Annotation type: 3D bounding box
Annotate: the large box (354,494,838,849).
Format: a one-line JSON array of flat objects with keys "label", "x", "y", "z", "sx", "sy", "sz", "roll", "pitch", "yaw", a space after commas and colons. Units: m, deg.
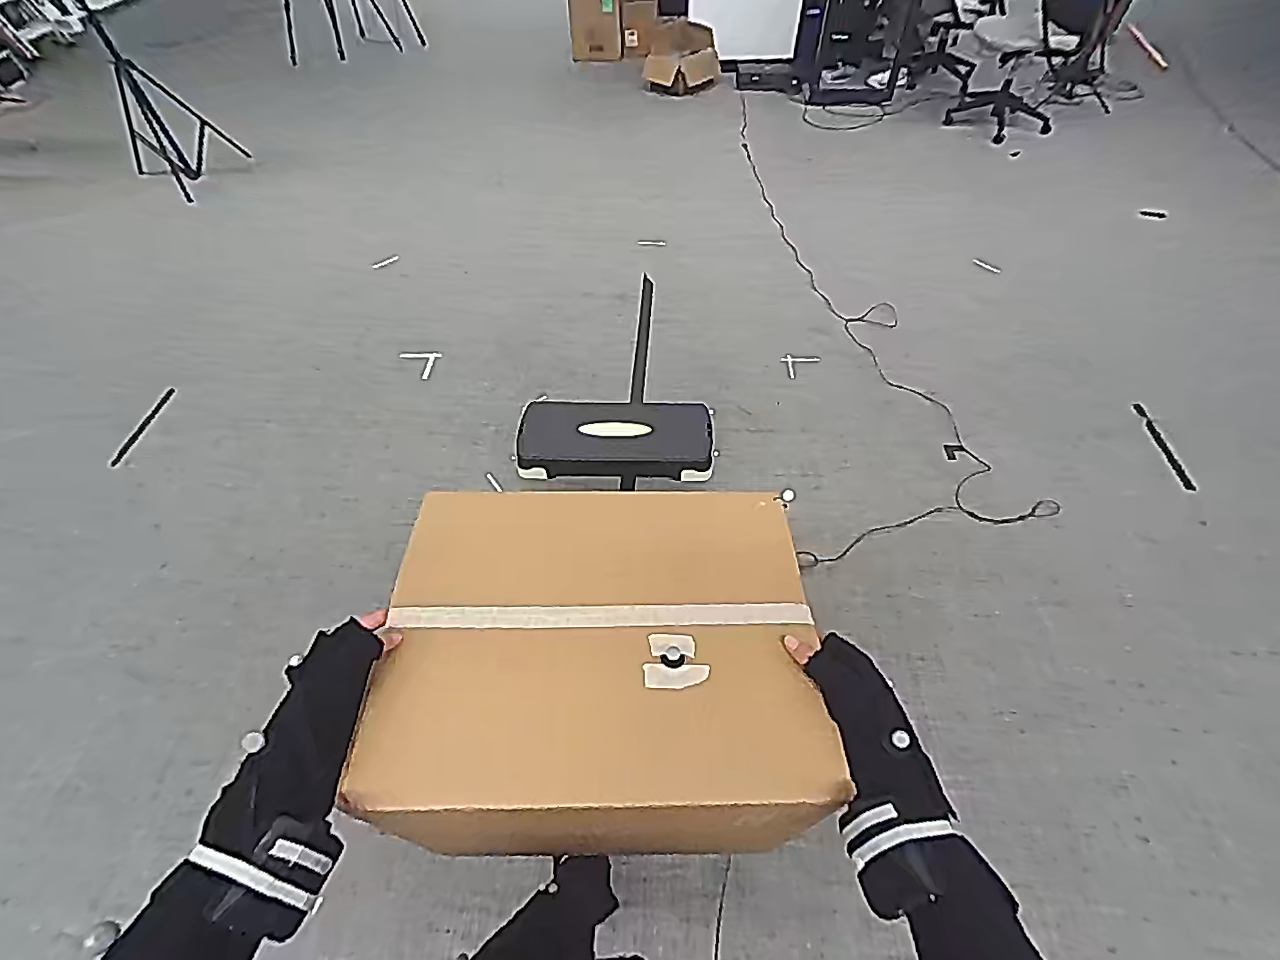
[{"label": "large box", "x": -0.041, "y": 0.230, "z": 0.645, "sx": 0.408, "sy": 0.320, "sz": 0.320, "roll": 1, "pitch": 50, "yaw": -2}]
